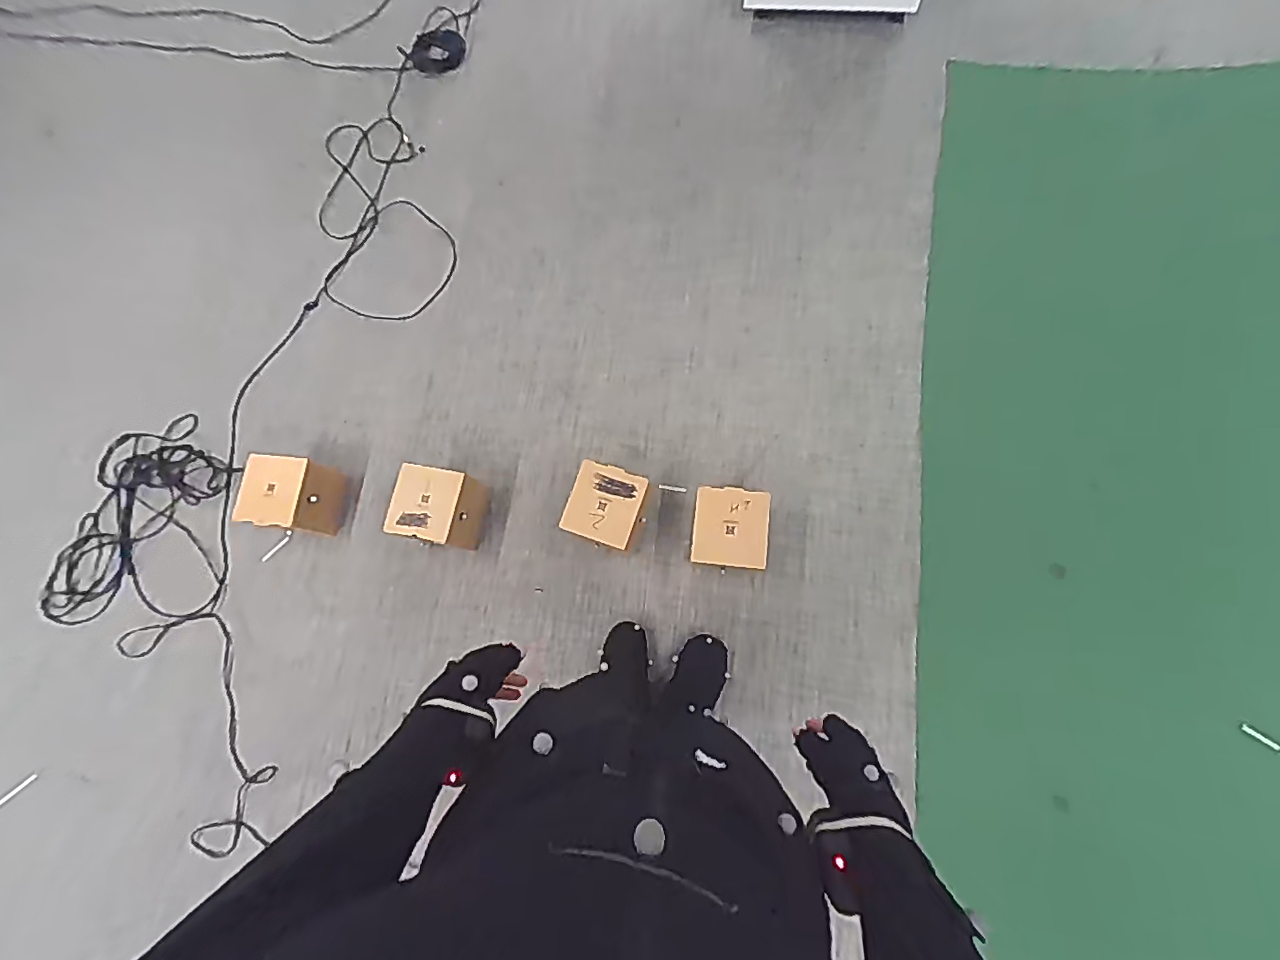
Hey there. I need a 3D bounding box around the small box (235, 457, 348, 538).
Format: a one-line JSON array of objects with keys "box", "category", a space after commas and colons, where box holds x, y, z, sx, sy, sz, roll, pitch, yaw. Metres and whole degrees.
[{"box": [-0.904, 0.050, 1.421, 0.168, 0.176, 0.179, 5, 78, 8], "category": "small box"}]

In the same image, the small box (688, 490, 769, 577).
[{"box": [0.206, 0.132, 1.279, 0.168, 0.176, 0.179, 6, 78, 6], "category": "small box"}]

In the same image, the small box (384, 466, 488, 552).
[{"box": [-0.506, 0.080, 1.367, 0.168, 0.176, 0.179, 10, 78, 9], "category": "small box"}]
